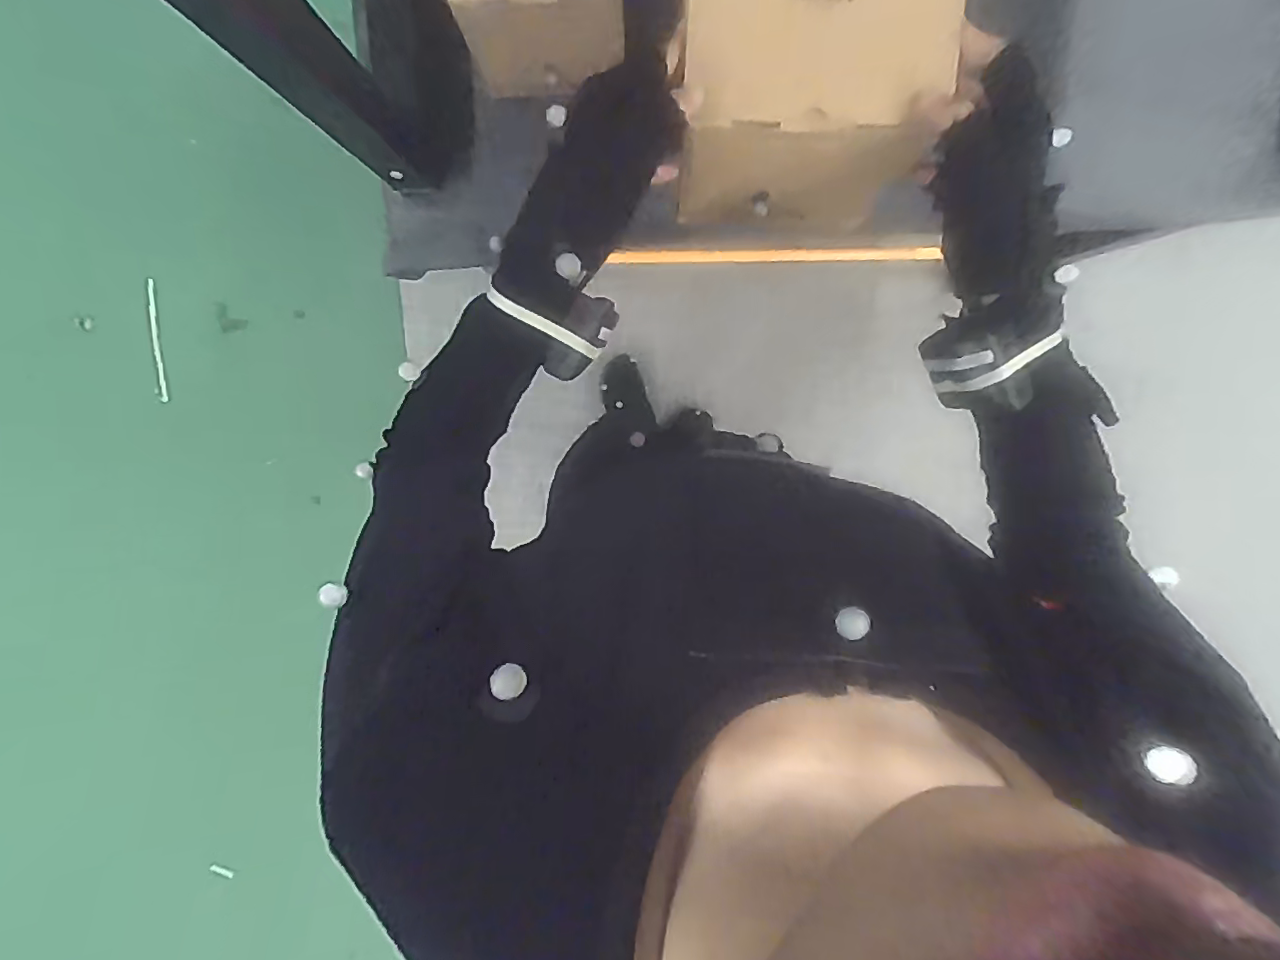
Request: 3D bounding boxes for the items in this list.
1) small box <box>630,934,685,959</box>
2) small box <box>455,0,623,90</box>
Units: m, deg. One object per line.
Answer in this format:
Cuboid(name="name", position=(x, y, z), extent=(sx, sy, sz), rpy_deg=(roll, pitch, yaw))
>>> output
Cuboid(name="small box", position=(0.048, 1.537, 1.647), extent=(0.168, 0.176, 0.179), rpy_deg=(7, 100, 0))
Cuboid(name="small box", position=(-0.106, -0.551, 0.566), extent=(0.168, 0.176, 0.179), rpy_deg=(-3, 99, 1))
